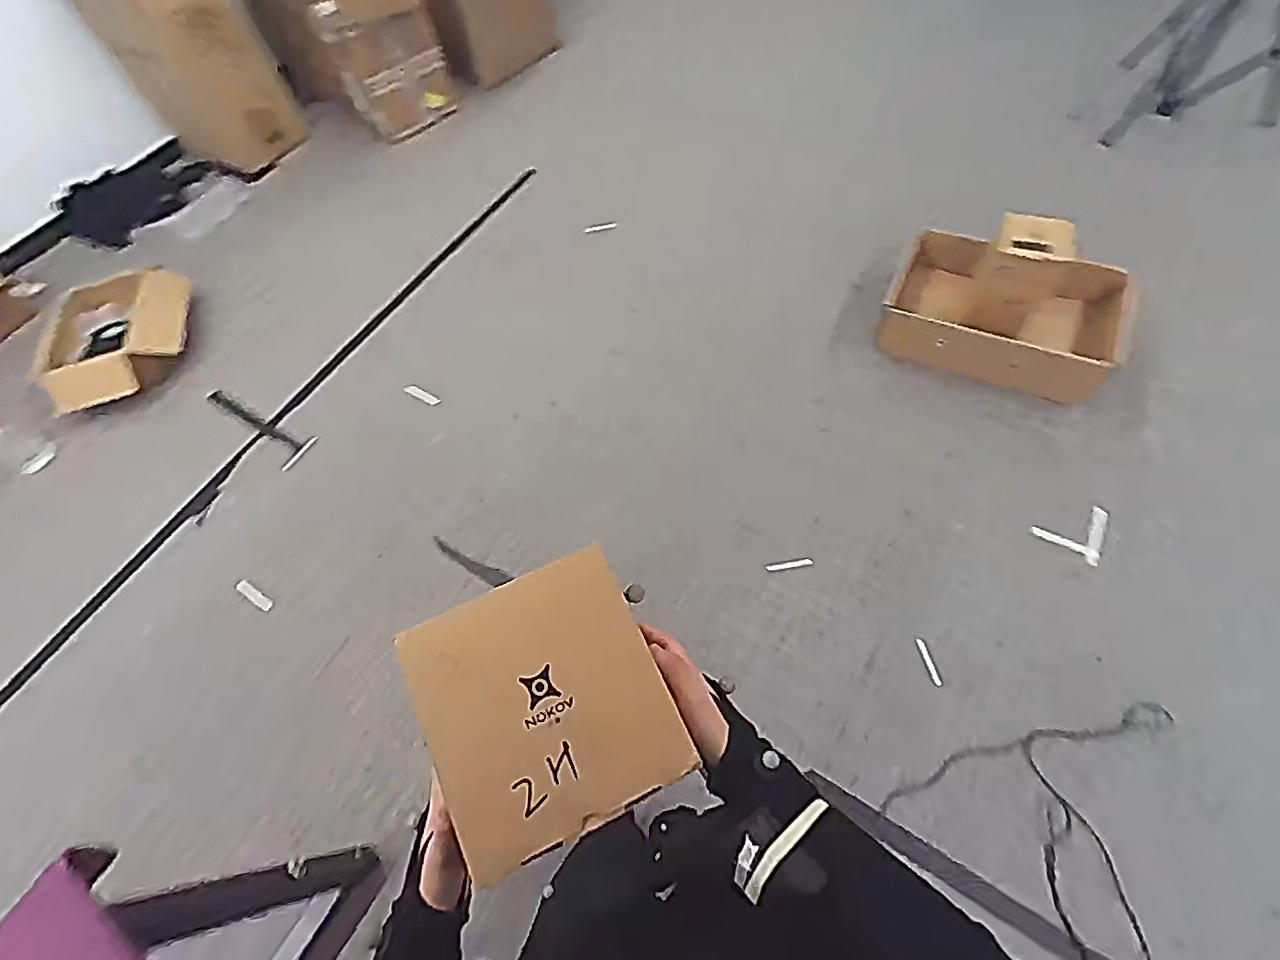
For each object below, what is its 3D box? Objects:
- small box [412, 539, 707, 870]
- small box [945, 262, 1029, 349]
[{"bbox_3d":[-0.063,0.175,0.460,0.168,0.176,0.179,-23,73,-8],"label":"small box"},{"bbox_3d":[1.067,-0.537,1.671,0.168,0.176,0.179,16,65,16],"label":"small box"}]
